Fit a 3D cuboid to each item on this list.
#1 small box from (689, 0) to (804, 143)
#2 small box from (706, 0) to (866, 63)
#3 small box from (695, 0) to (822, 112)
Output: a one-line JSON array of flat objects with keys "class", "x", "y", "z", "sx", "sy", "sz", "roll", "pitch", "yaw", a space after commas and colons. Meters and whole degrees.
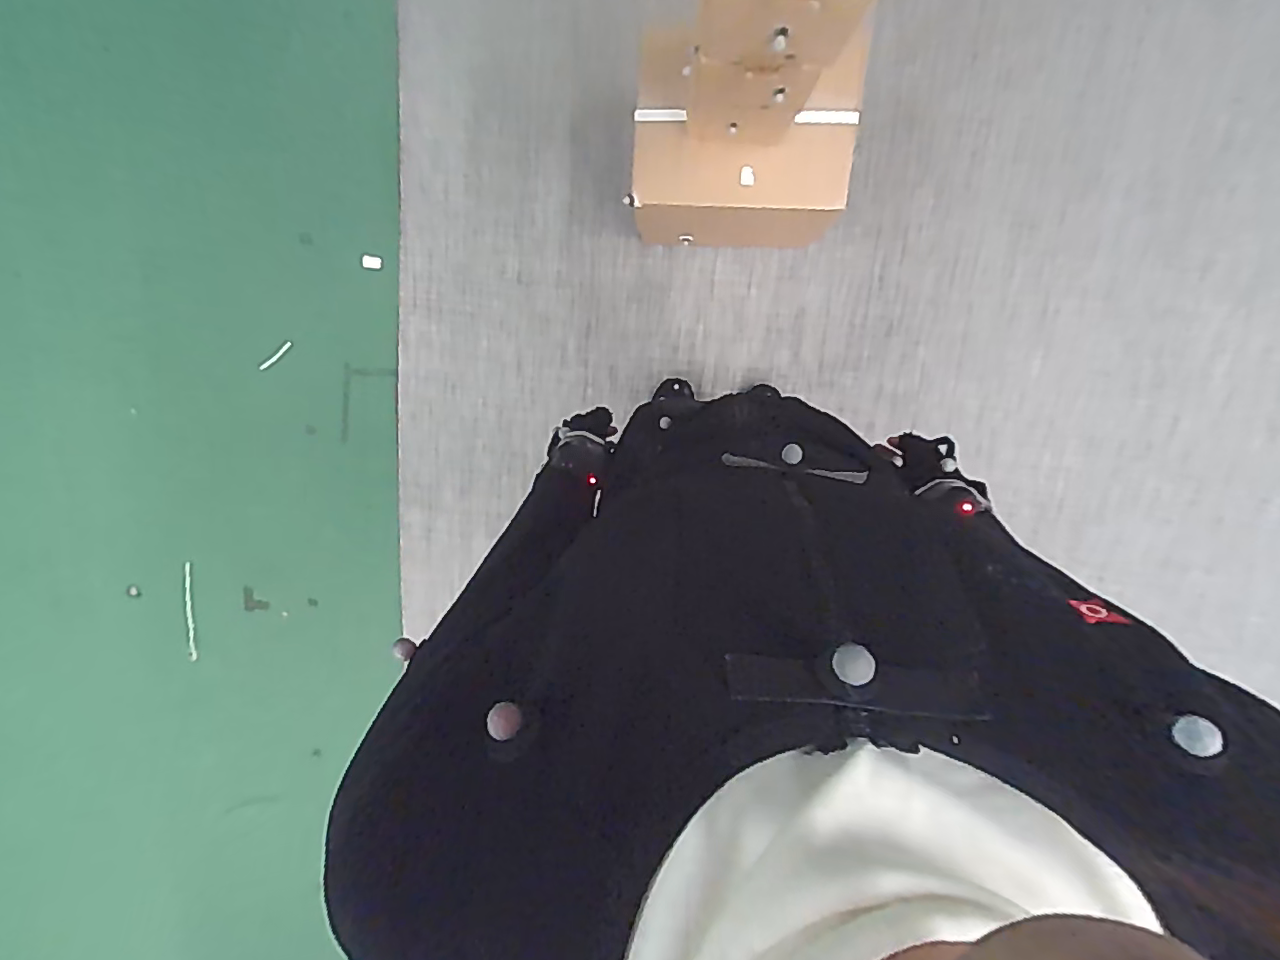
[{"class": "small box", "x": 0.177, "y": -0.681, "z": 0.904, "sx": 0.179, "sy": 0.176, "sz": 0.168, "roll": 4, "pitch": 107, "yaw": 4}, {"class": "small box", "x": 0.162, "y": -0.591, "z": 0.592, "sx": 0.168, "sy": 0.176, "sz": 0.179, "roll": 5, "pitch": 108, "yaw": 3}, {"class": "small box", "x": 0.164, "y": -0.636, "z": 0.749, "sx": 0.168, "sy": 0.176, "sz": 0.179, "roll": 4, "pitch": 106, "yaw": 3}]
